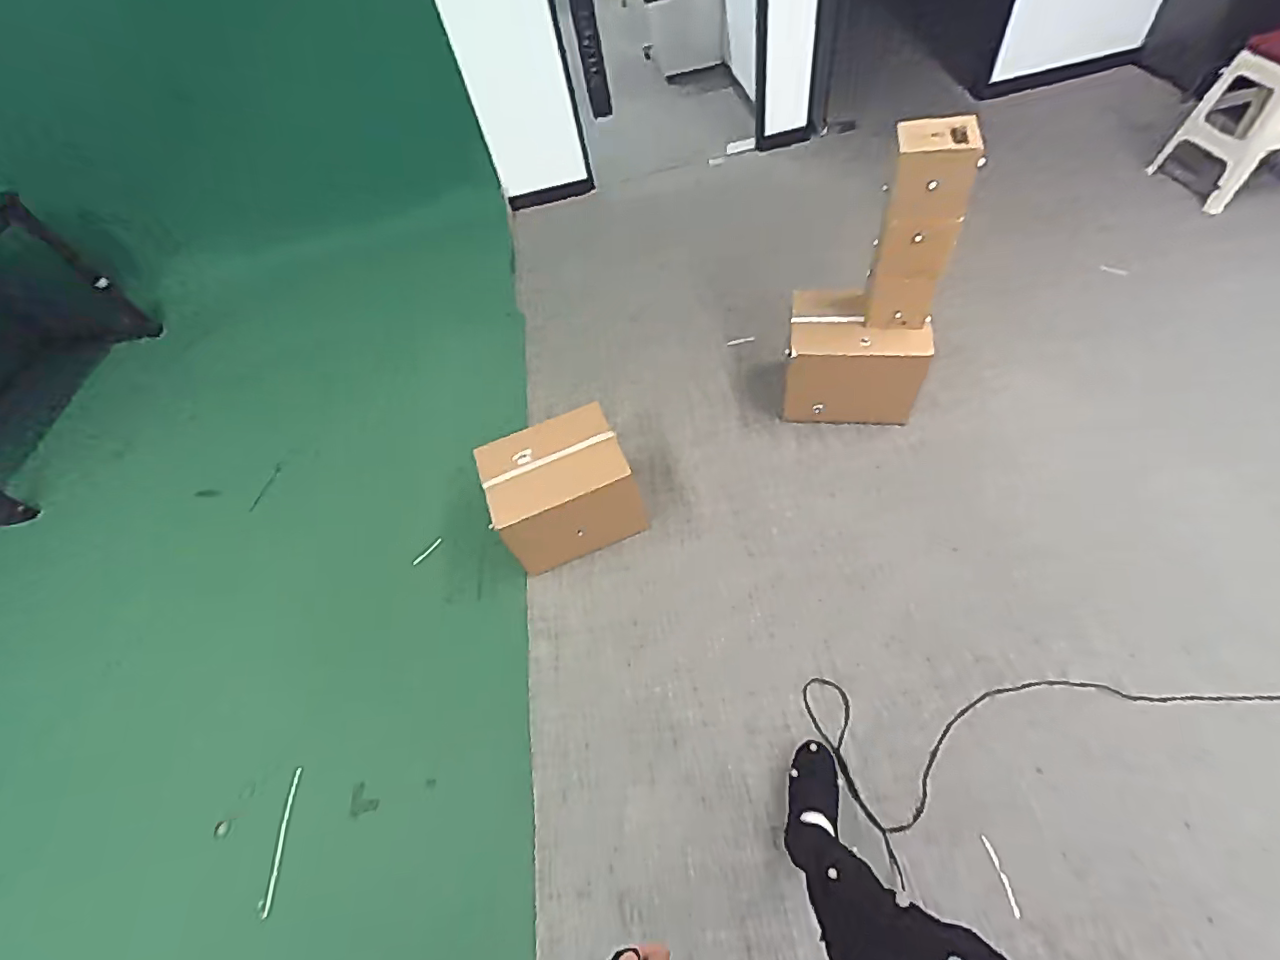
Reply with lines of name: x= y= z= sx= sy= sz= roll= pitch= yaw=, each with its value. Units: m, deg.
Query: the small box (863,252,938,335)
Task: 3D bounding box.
small box: x=0.766 y=-0.556 z=1.608 sx=0.168 sy=0.176 sz=0.179 roll=4 pitch=54 yaw=14

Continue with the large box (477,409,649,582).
large box: x=-0.228 y=0.052 z=1.668 sx=0.408 sy=0.320 sz=0.320 roll=-23 pitch=53 yaw=-4

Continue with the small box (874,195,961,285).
small box: x=0.751 y=-0.651 z=1.478 sx=0.179 sy=0.176 sz=0.168 roll=5 pitch=54 yaw=15
